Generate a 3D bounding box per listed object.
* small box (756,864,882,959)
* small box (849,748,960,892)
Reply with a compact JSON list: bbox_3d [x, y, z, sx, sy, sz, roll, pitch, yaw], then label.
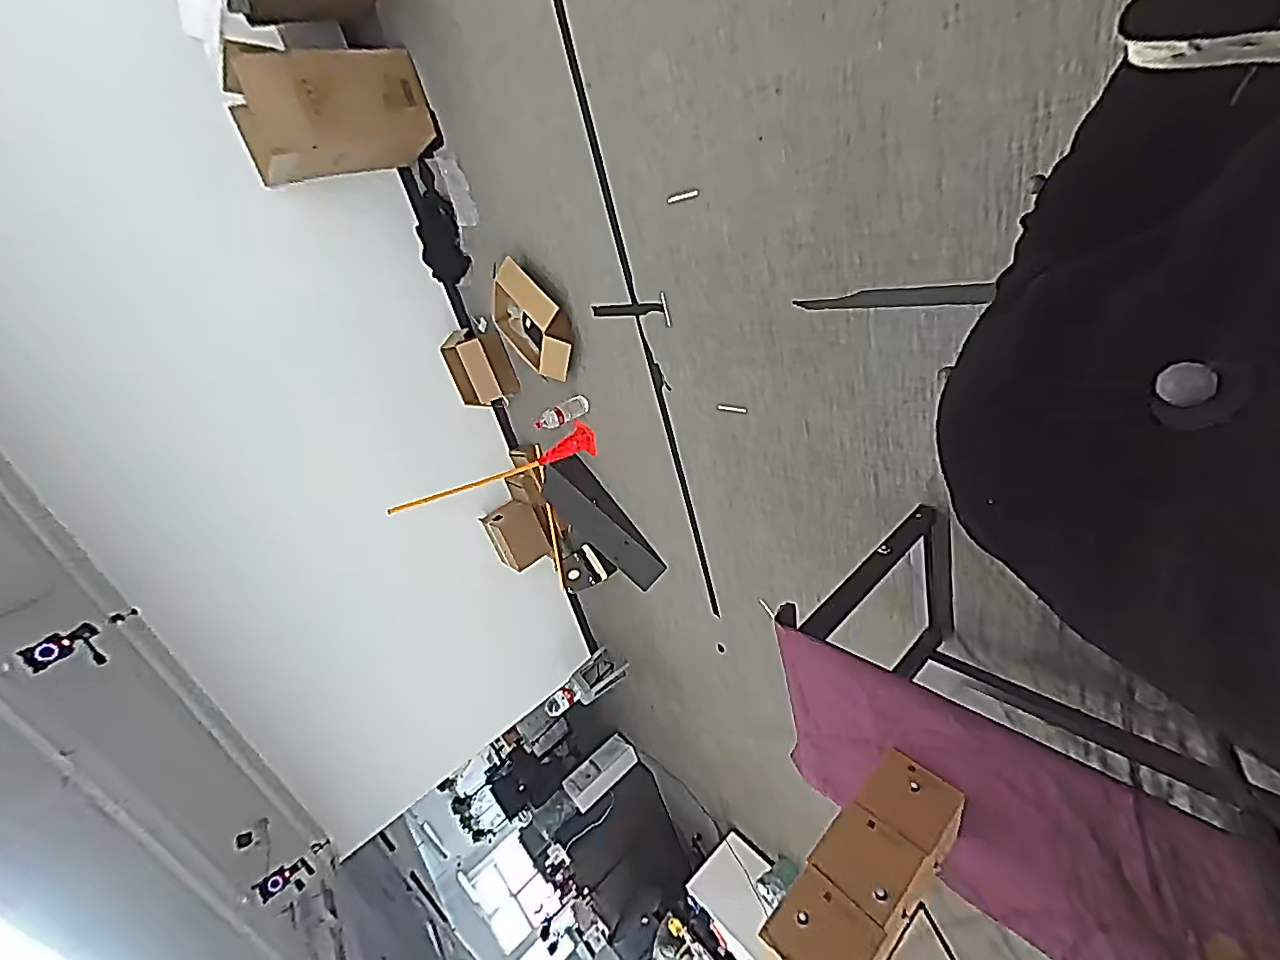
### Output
[{"bbox_3d":[0.343,0.891,1.034,0.168,0.176,0.179,27,139,45],"label":"small box"},{"bbox_3d":[0.584,0.744,1.199,0.168,0.176,0.179,23,136,45],"label":"small box"}]
